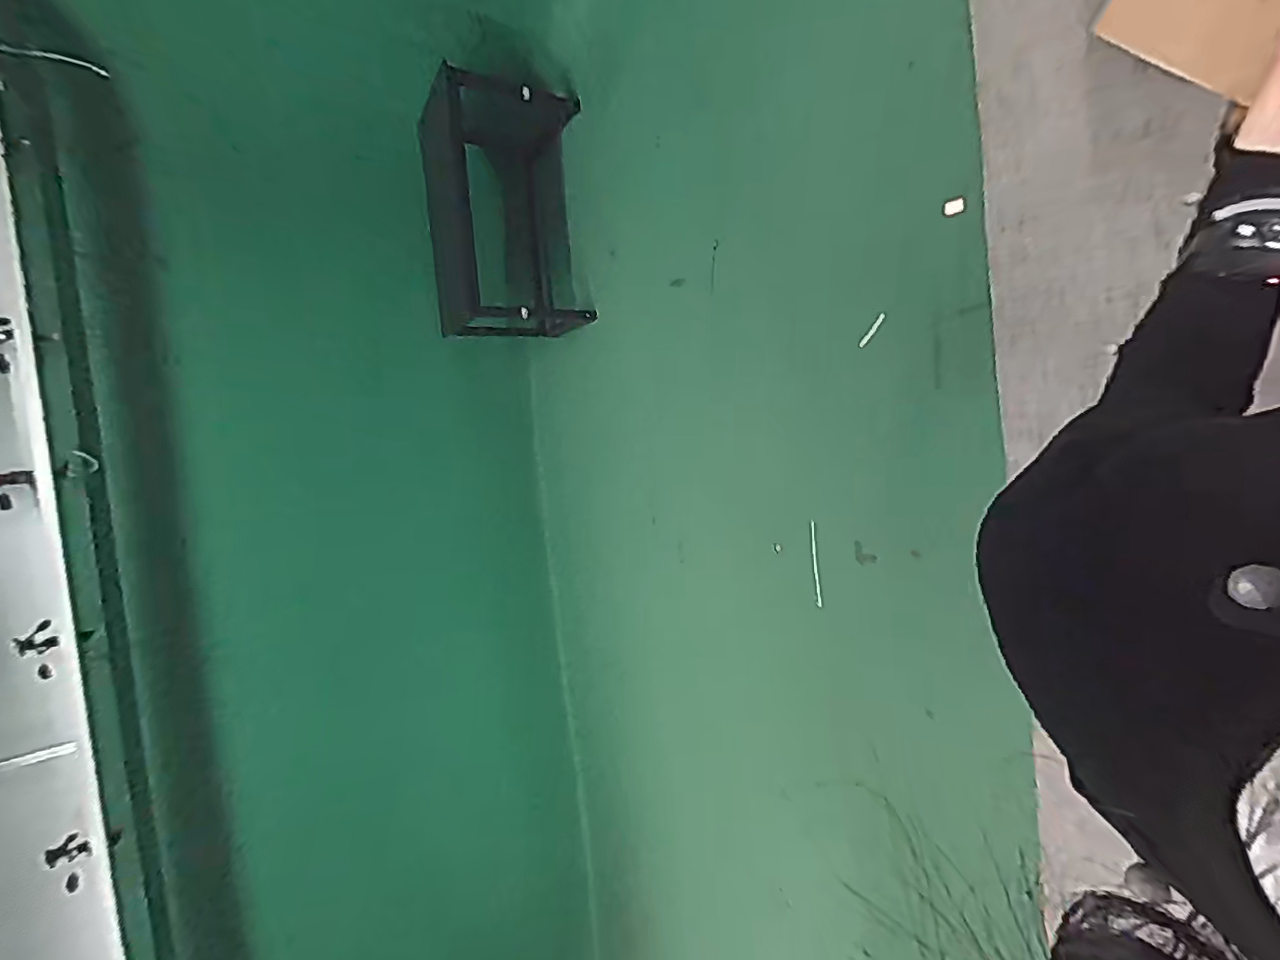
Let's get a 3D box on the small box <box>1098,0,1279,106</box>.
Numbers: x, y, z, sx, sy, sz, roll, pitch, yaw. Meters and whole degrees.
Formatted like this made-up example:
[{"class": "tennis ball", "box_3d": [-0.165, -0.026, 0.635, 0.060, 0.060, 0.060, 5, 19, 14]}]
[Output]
[{"class": "small box", "box_3d": [0.502, -0.425, 0.376, 0.179, 0.176, 0.168, 48, 180, 18]}]
